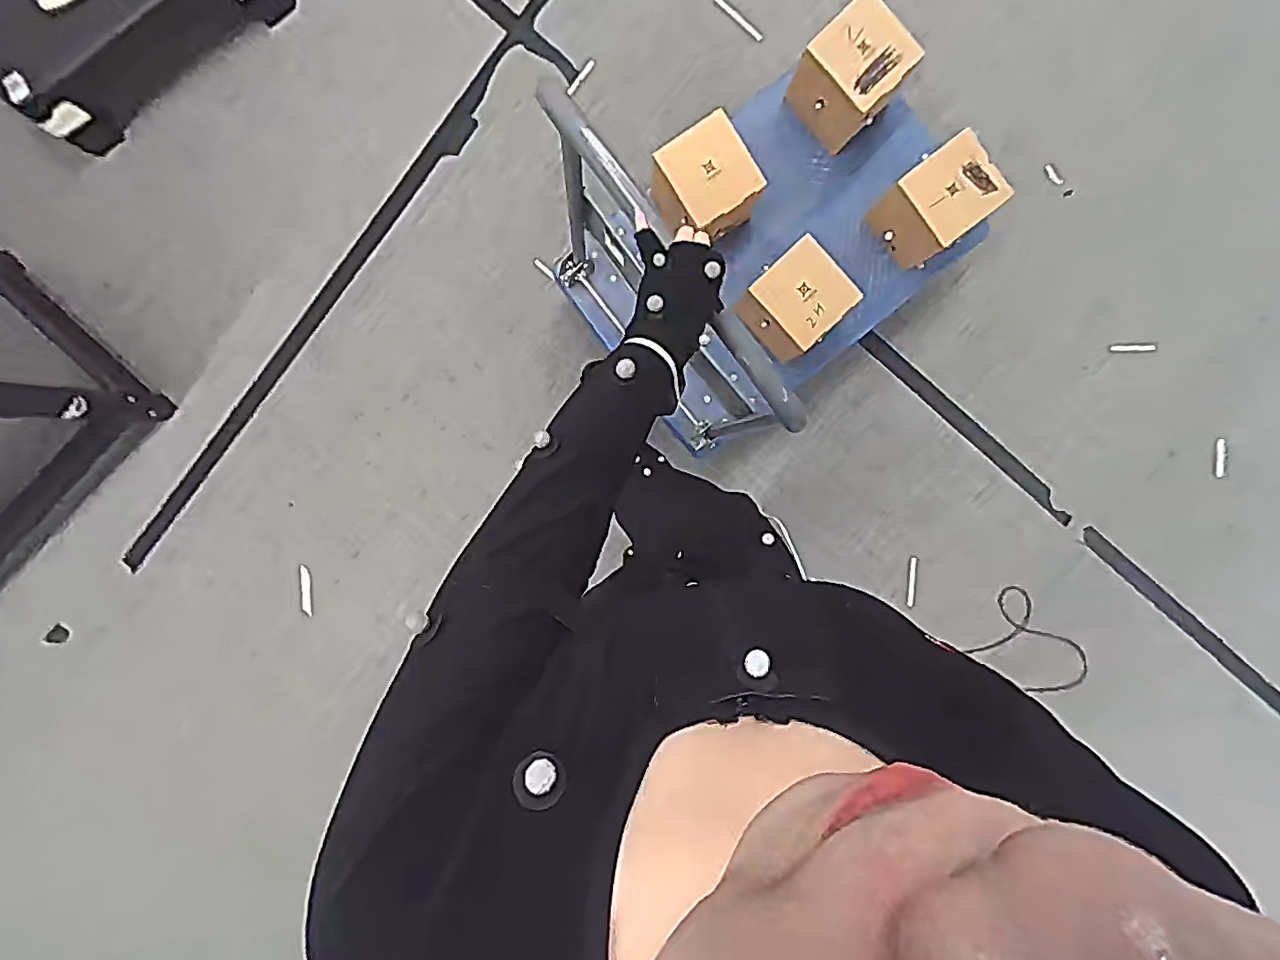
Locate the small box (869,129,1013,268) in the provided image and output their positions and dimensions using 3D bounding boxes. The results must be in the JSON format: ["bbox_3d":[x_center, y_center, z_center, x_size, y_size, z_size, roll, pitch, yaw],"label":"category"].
[{"bbox_3d":[0.633,-0.590,1.158,0.179,0.176,0.168,-37,94,3],"label":"small box"}]

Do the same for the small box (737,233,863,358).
[{"bbox_3d":[0.334,-0.386,1.170,0.168,0.176,0.179,-42,94,3],"label":"small box"}]

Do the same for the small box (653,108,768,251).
[{"bbox_3d":[0.140,-0.625,1.149,0.168,0.176,0.179,-33,96,1],"label":"small box"}]
